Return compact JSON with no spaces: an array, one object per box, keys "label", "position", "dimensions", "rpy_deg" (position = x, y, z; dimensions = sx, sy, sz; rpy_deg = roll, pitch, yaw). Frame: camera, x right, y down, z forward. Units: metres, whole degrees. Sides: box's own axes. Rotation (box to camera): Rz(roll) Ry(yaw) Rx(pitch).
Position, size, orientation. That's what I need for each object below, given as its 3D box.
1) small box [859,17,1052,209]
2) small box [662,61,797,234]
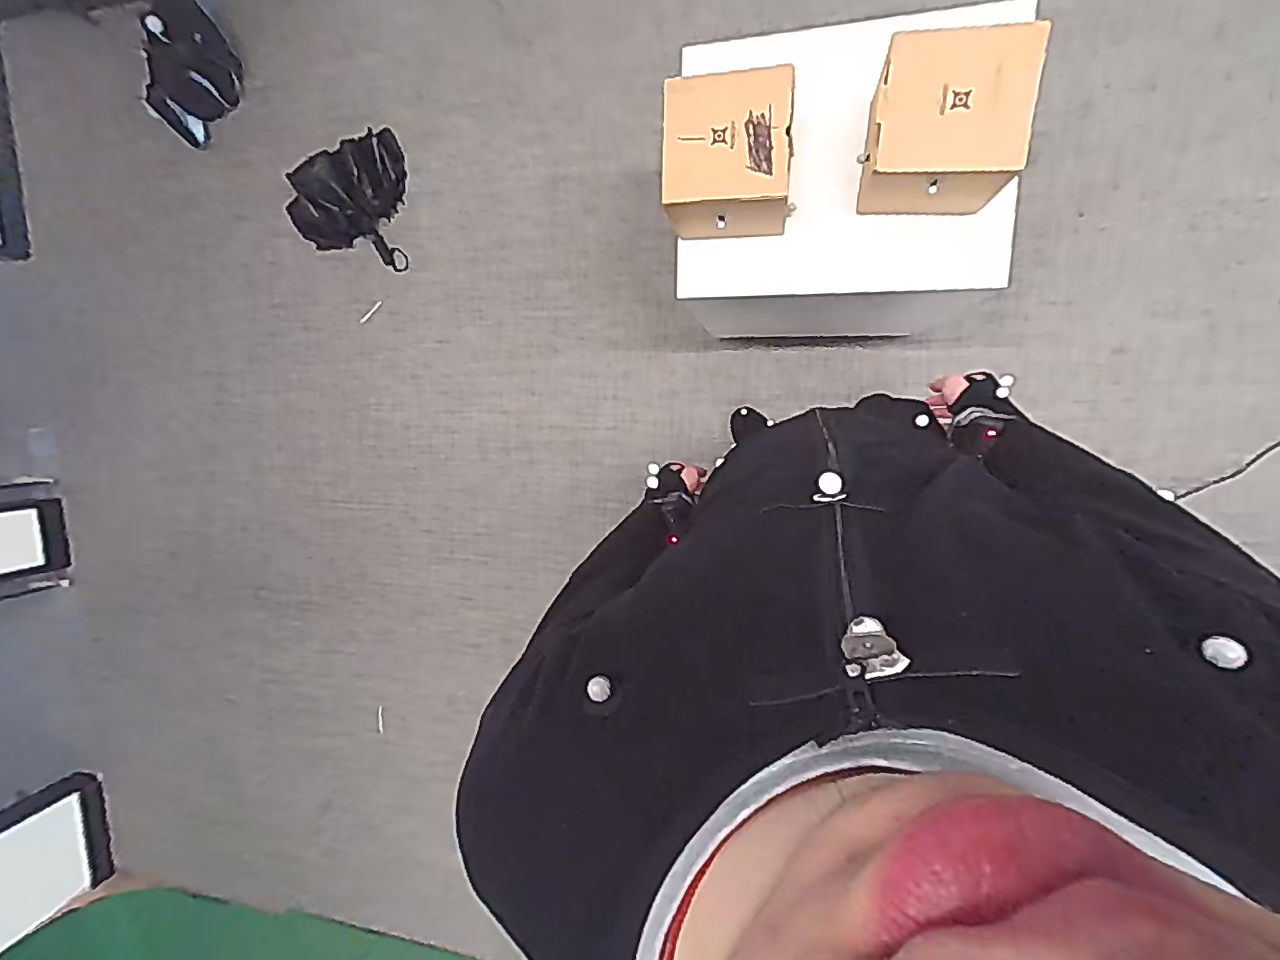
[{"label":"small box","position":[0.410,-0.483,0.740],"dimensions":[0.179,0.176,0.168],"rpy_deg":[7,101,13]},{"label":"small box","position":[0.136,-0.479,0.806],"dimensions":[0.179,0.176,0.168],"rpy_deg":[3,98,14]}]
